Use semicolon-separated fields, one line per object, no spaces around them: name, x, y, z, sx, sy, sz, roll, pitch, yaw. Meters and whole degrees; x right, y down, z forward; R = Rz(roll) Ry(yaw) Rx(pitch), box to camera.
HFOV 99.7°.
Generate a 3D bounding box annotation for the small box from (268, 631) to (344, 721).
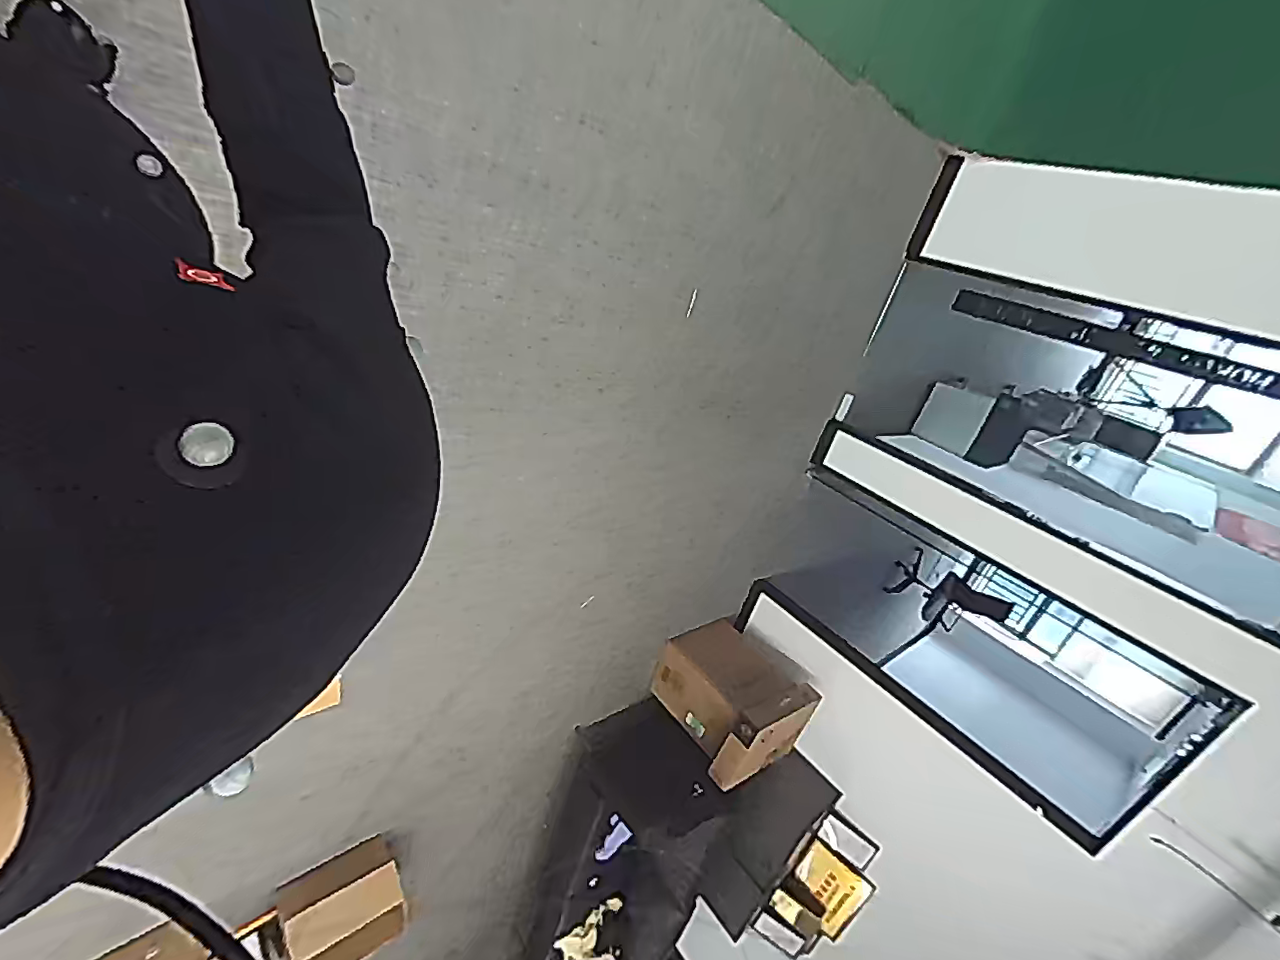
small box;-1.028;0.590;1.663;0.168;0.176;0.179;-11;127;-40
